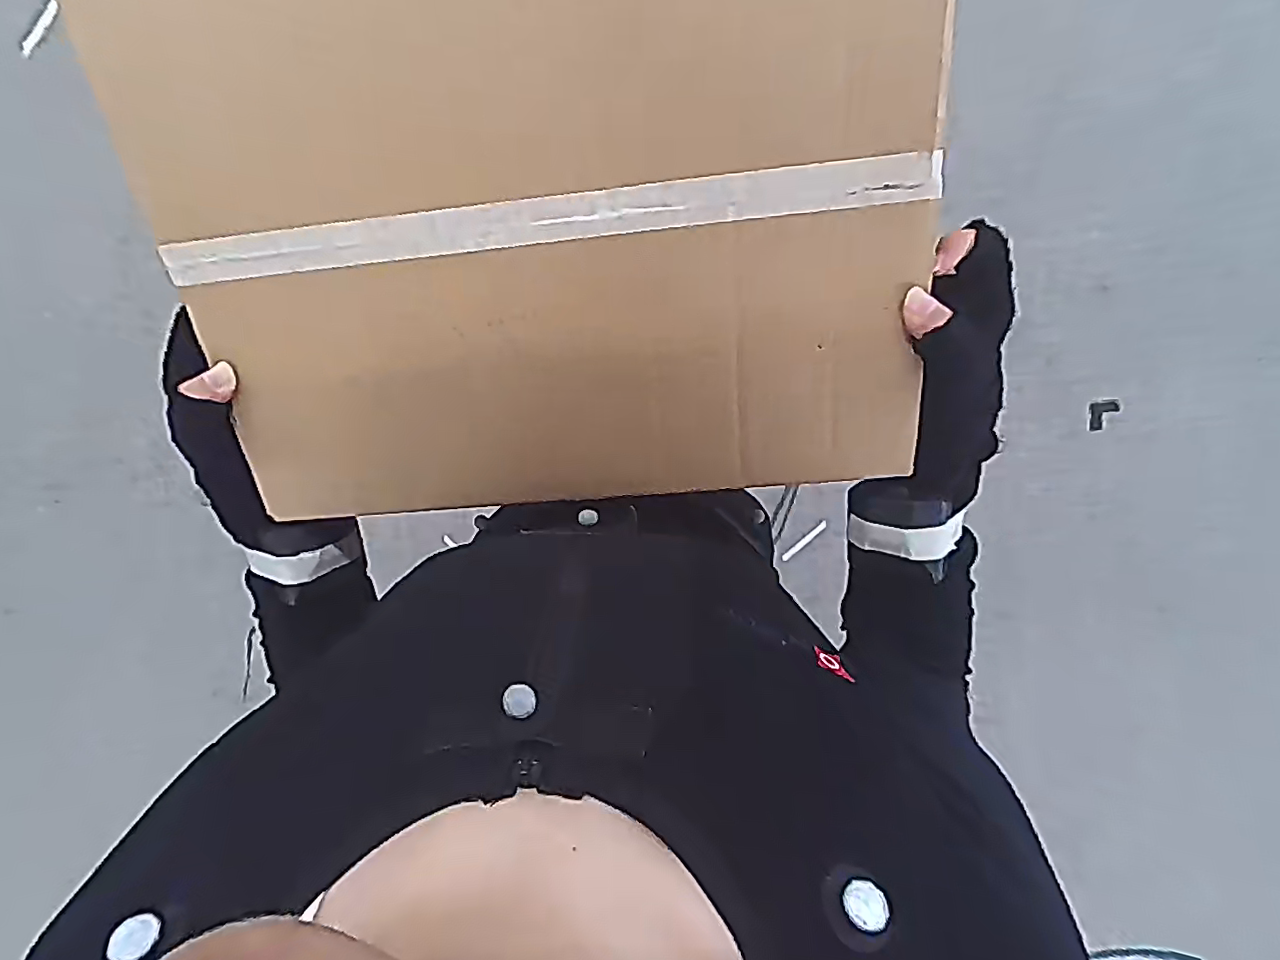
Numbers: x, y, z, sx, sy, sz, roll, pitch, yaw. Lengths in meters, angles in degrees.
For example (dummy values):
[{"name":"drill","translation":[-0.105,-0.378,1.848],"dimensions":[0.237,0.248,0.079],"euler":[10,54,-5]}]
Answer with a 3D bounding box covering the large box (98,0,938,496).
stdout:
[{"name":"large box","translation":[-0.049,-0.202,0.425],"dimensions":[0.408,0.320,0.320],"euler":[-4,113,4]}]
